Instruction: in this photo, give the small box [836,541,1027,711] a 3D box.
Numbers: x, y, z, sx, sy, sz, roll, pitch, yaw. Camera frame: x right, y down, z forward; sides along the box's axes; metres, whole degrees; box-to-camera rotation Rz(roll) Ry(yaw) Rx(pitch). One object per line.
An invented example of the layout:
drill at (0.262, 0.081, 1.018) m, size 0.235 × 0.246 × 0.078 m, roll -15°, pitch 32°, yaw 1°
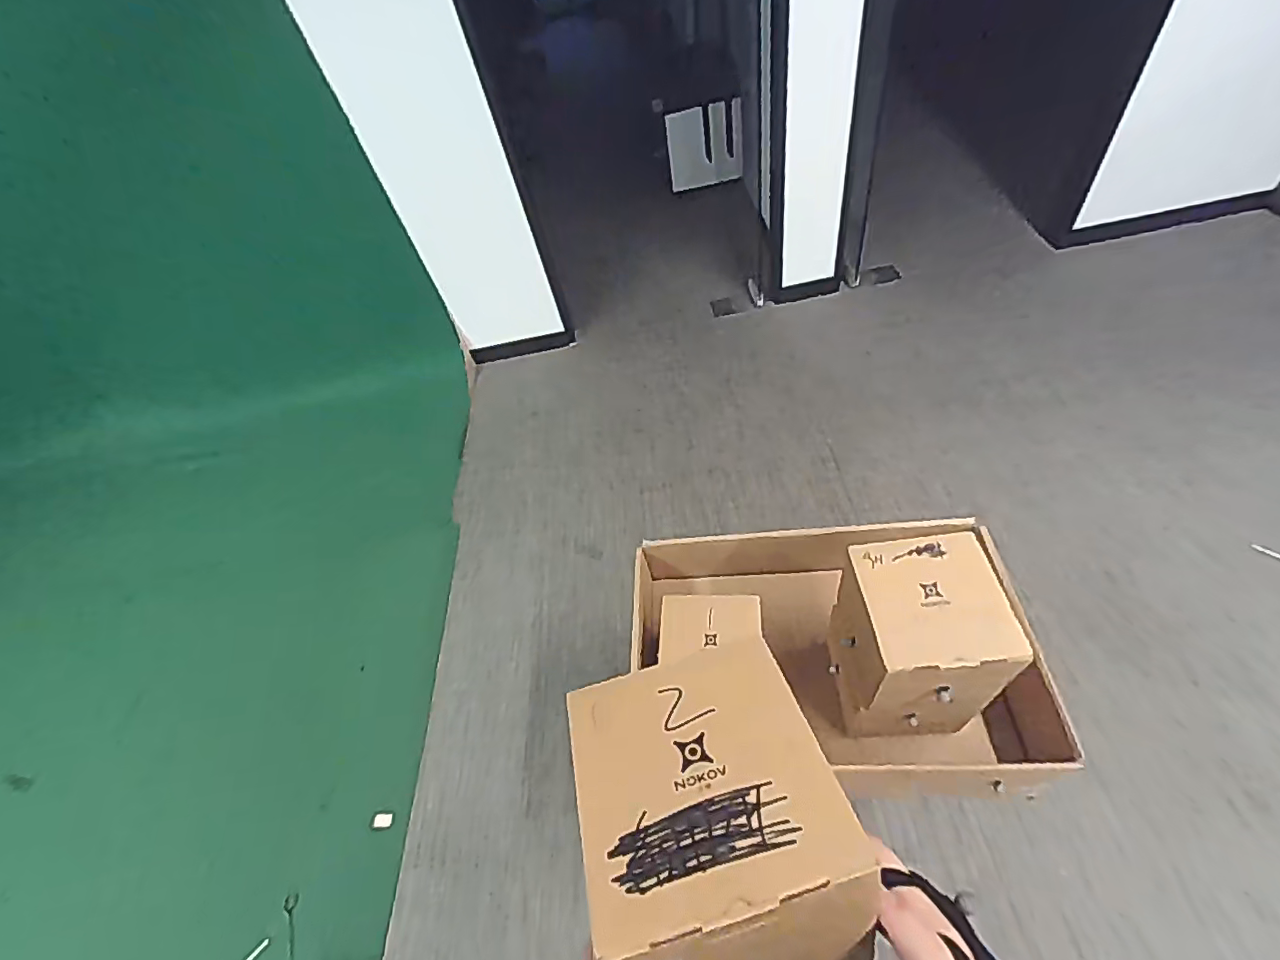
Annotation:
small box at (0.378, 0.207, 0.742) m, size 0.168 × 0.176 × 0.179 m, roll -7°, pitch 51°, yaw 7°
